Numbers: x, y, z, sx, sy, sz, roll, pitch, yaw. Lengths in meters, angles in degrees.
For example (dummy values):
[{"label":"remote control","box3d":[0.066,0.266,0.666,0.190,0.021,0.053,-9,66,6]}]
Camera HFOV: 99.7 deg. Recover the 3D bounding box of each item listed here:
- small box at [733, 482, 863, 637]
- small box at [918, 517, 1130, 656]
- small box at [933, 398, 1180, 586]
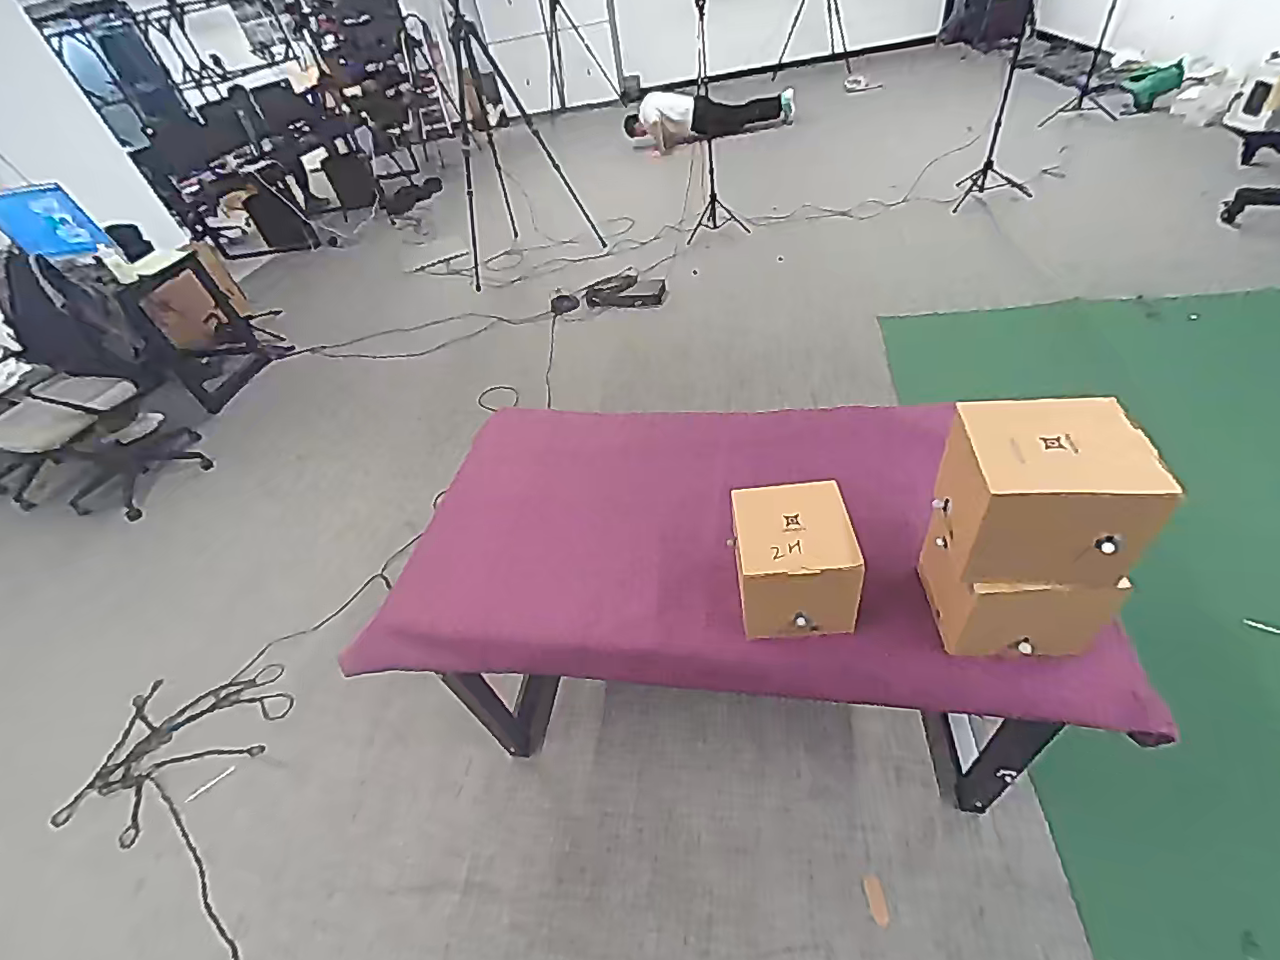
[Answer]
[{"label":"small box","box3d":[0.239,0.126,0.855,0.168,0.176,0.179,-6,43,8]},{"label":"small box","box3d":[0.524,0.138,0.773,0.179,0.176,0.168,-4,44,10]},{"label":"small box","box3d":[0.486,0.016,0.669,0.179,0.176,0.168,0,45,15]}]
